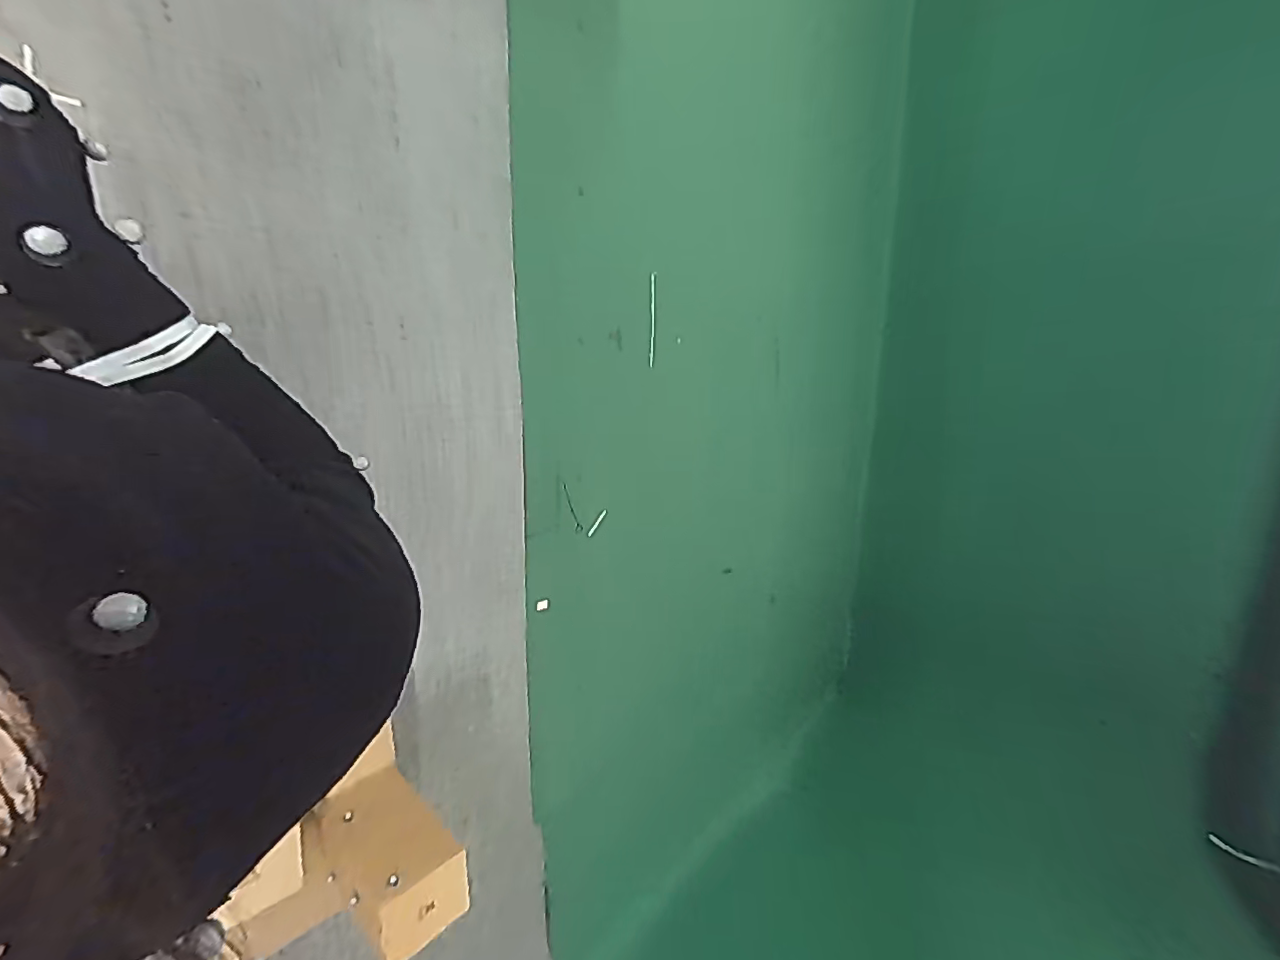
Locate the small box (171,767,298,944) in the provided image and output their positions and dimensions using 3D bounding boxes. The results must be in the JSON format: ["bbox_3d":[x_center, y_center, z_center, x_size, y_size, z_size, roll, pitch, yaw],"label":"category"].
[{"bbox_3d":[-0.758,0.686,1.013,0.168,0.176,0.179,-6,105,-46],"label":"small box"}]

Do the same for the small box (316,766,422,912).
[{"bbox_3d":[-0.606,0.792,1.214,0.179,0.176,0.168,-15,112,-46],"label":"small box"}]

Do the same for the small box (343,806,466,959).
[{"bbox_3d":[-0.481,0.824,1.113,0.179,0.176,0.168,-14,111,-45],"label":"small box"}]
